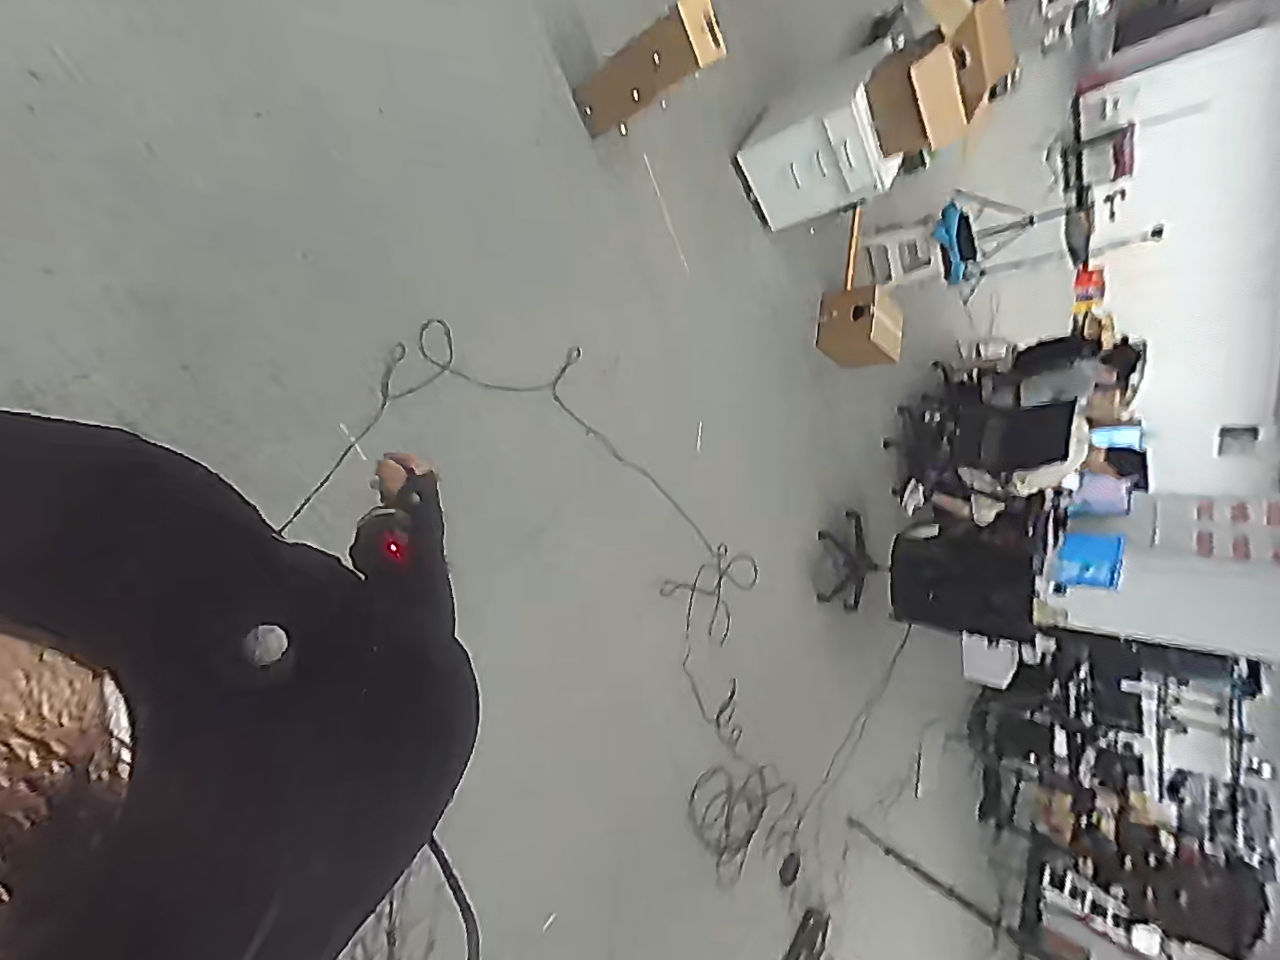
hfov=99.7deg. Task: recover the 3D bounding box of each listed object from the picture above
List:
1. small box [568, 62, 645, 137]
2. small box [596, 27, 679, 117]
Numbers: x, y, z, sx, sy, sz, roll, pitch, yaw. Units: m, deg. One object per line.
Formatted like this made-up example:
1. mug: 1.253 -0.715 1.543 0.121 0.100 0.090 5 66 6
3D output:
1. small box: -0.117 -1.332 1.888 0.168 0.176 0.179 -46 121 -34
2. small box: -0.009 -1.323 1.767 0.168 0.176 0.179 -49 121 -34
